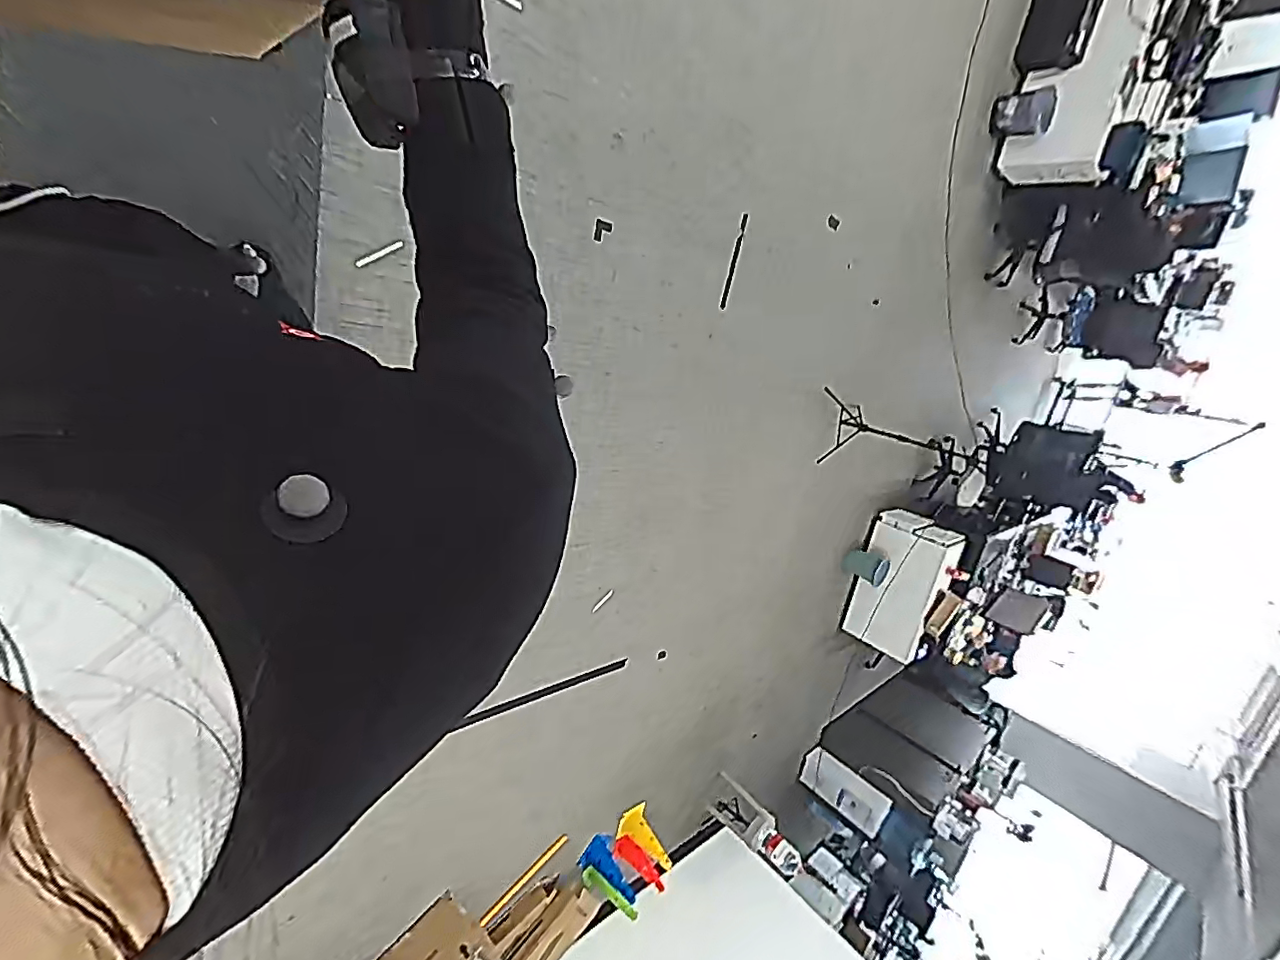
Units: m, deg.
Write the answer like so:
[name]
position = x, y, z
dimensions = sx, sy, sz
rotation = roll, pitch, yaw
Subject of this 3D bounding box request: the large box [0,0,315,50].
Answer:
[large box]
position = -0.405, -0.413, 0.215
dimensions = 0.408, 0.320, 0.320
rotation = -21, 127, -36
